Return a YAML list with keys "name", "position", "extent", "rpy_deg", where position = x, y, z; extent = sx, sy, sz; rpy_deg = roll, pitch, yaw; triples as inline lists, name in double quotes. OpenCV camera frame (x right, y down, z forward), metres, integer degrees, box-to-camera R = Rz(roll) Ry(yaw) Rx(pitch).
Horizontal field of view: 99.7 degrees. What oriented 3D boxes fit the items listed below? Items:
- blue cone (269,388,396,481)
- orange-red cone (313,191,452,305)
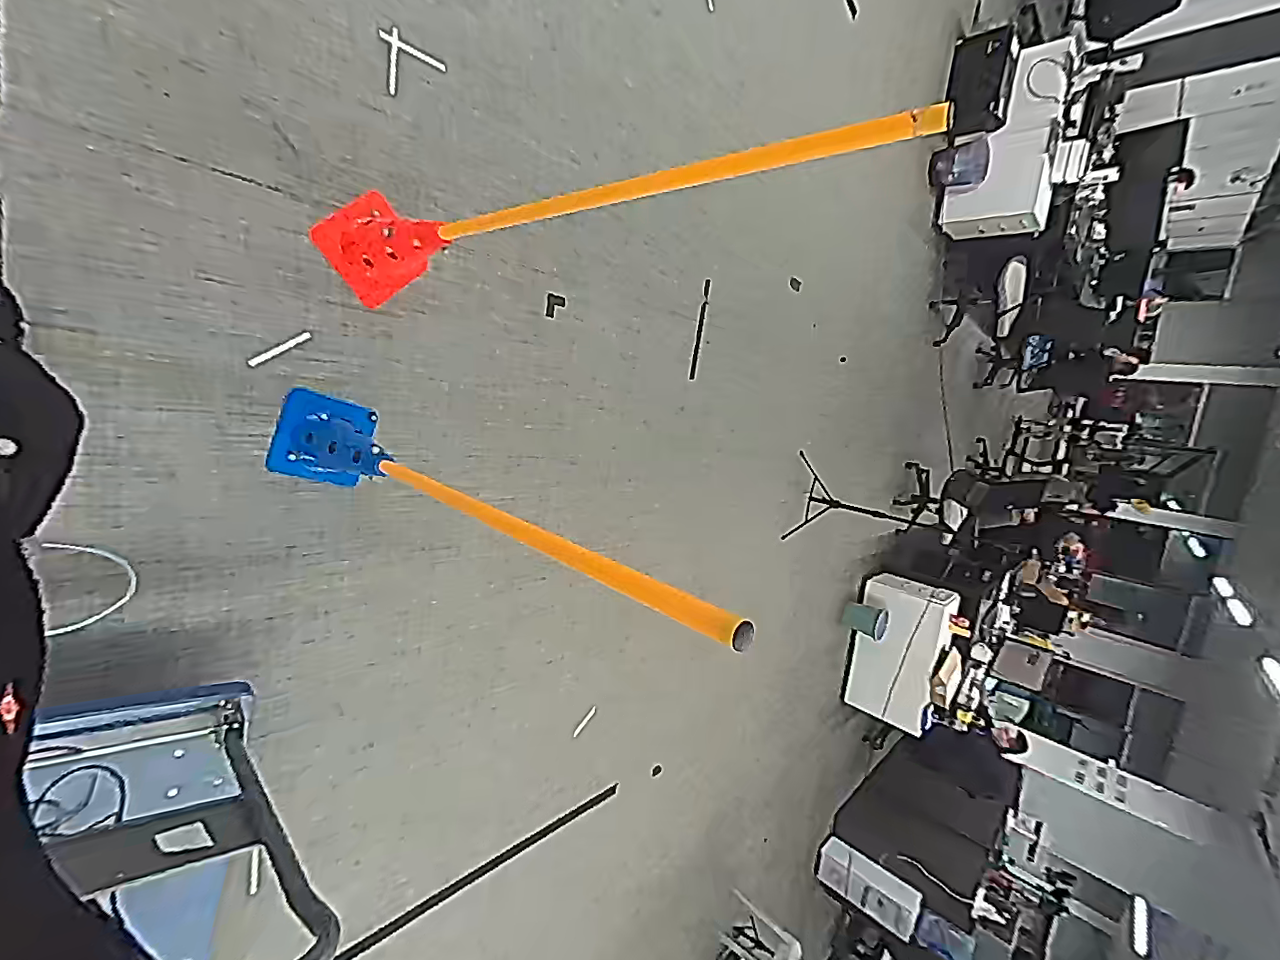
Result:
- name: "blue cone"
  position: [-0.611, -0.071, 1.135]
  extent: [0.193, 0.380, 0.192]
  rpy_deg: [22, 84, -48]
- name: "orange-red cone"
  position: [-0.490, -0.498, 1.126]
  extent: [0.199, 0.360, 0.198]
  rpy_deg: [-49, 131, -24]
